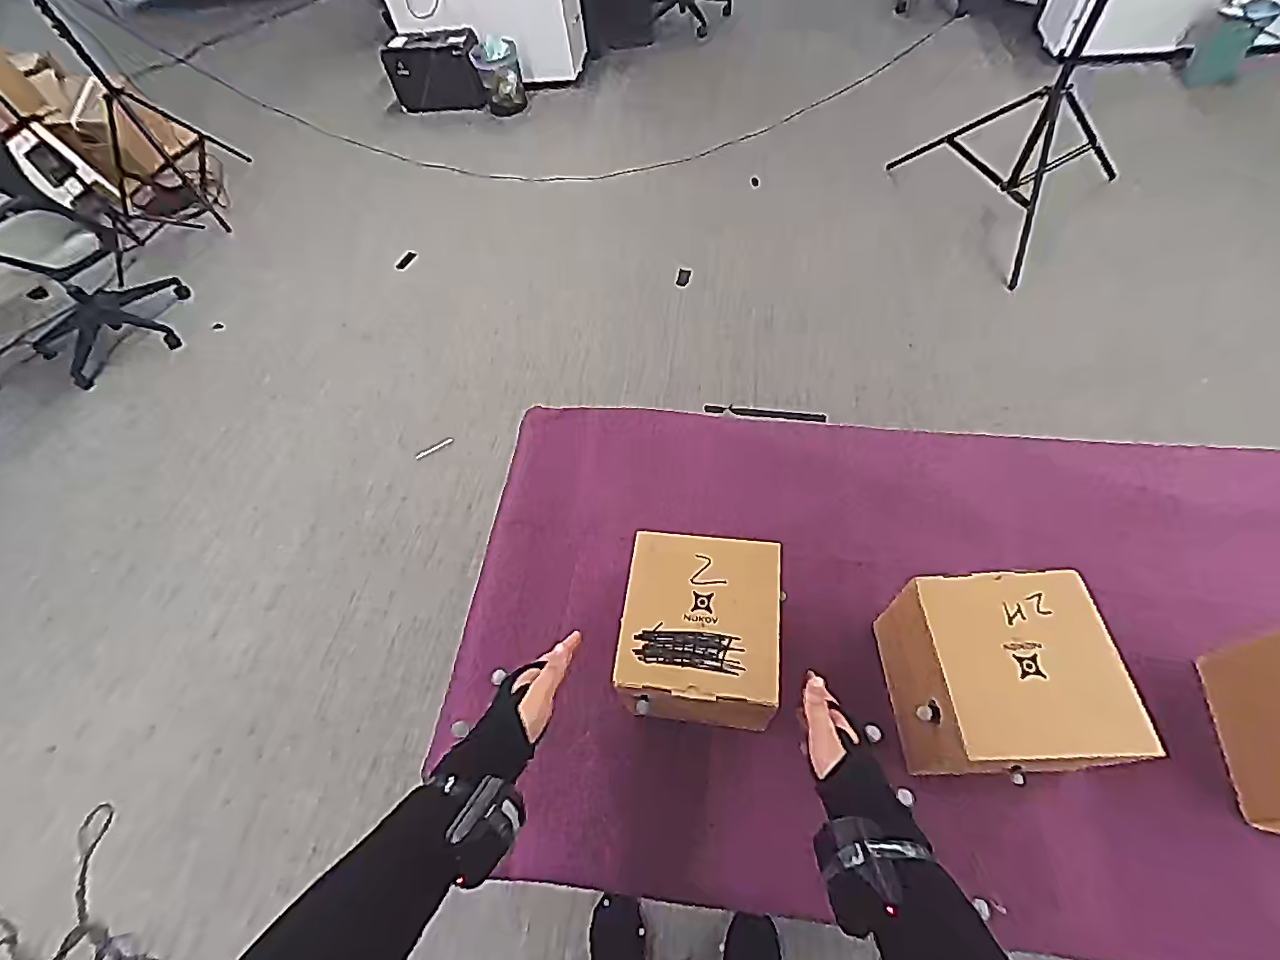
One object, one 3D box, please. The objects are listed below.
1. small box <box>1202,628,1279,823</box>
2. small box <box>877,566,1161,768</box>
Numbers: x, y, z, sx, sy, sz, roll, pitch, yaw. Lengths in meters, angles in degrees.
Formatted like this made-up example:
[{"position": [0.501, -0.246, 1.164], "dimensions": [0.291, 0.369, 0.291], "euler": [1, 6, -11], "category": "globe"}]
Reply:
[{"position": [0.717, 0.242, 0.522], "dimensions": [0.168, 0.176, 0.179], "euler": [7, 58, 12], "category": "small box"}, {"position": [0.379, 0.209, 0.584], "dimensions": [0.168, 0.176, 0.179], "euler": [-4, 57, 4], "category": "small box"}]
